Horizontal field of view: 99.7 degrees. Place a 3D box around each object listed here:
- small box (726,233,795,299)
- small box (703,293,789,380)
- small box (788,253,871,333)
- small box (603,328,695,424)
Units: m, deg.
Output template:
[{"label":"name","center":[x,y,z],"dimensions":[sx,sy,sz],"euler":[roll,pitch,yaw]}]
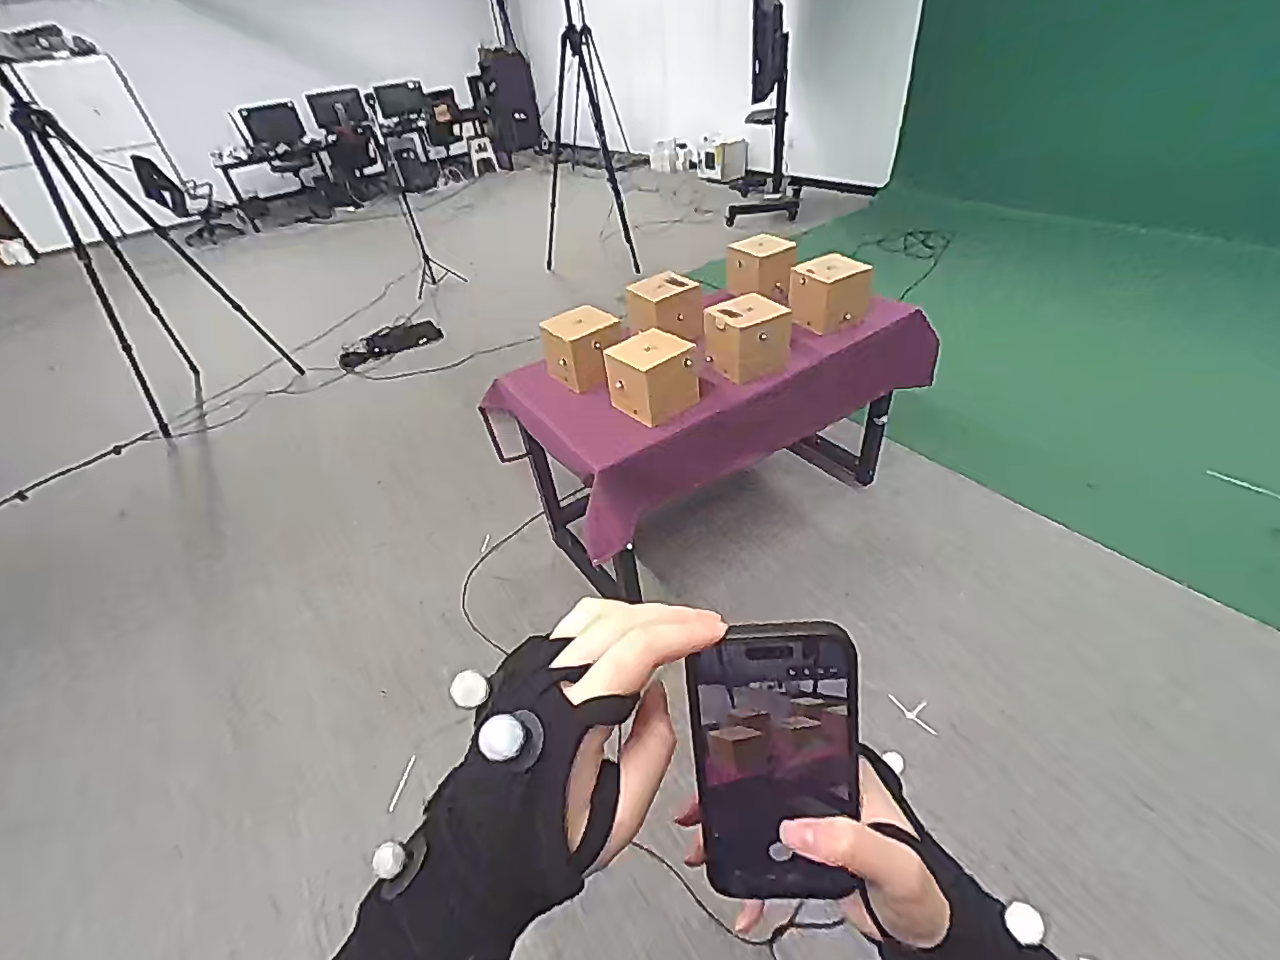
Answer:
[{"label":"small box","center":[0.414,-0.739,1.888],"dimensions":[0.168,0.176,0.179],"euler":[-26,44,-19]},{"label":"small box","center":[0.295,-0.400,1.514],"dimensions":[0.179,0.176,0.168],"euler":[-23,43,-18]},{"label":"small box","center":[0.578,-0.578,1.675],"dimensions":[0.179,0.176,0.168],"euler":[-23,42,-17]},{"label":"small box","center":[0.031,-0.270,1.407],"dimensions":[0.179,0.176,0.168],"euler":[-32,45,-27]}]
